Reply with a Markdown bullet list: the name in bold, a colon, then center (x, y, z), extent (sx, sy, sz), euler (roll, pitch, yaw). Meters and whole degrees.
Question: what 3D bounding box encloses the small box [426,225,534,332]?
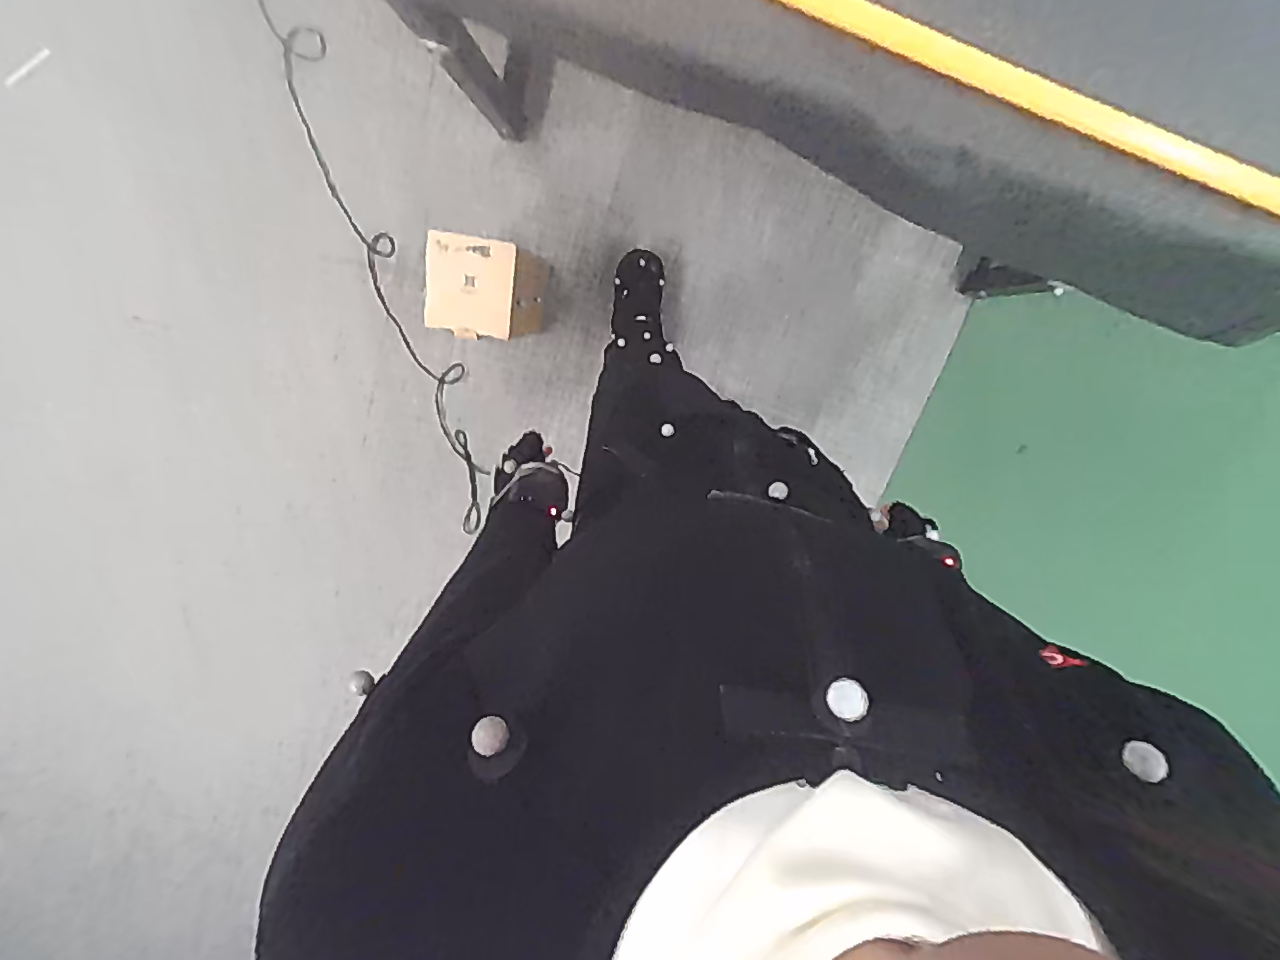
- **small box**: center (-0.315, -0.398, 1.087), extent (0.168, 0.176, 0.179), euler (7, 106, 1)
